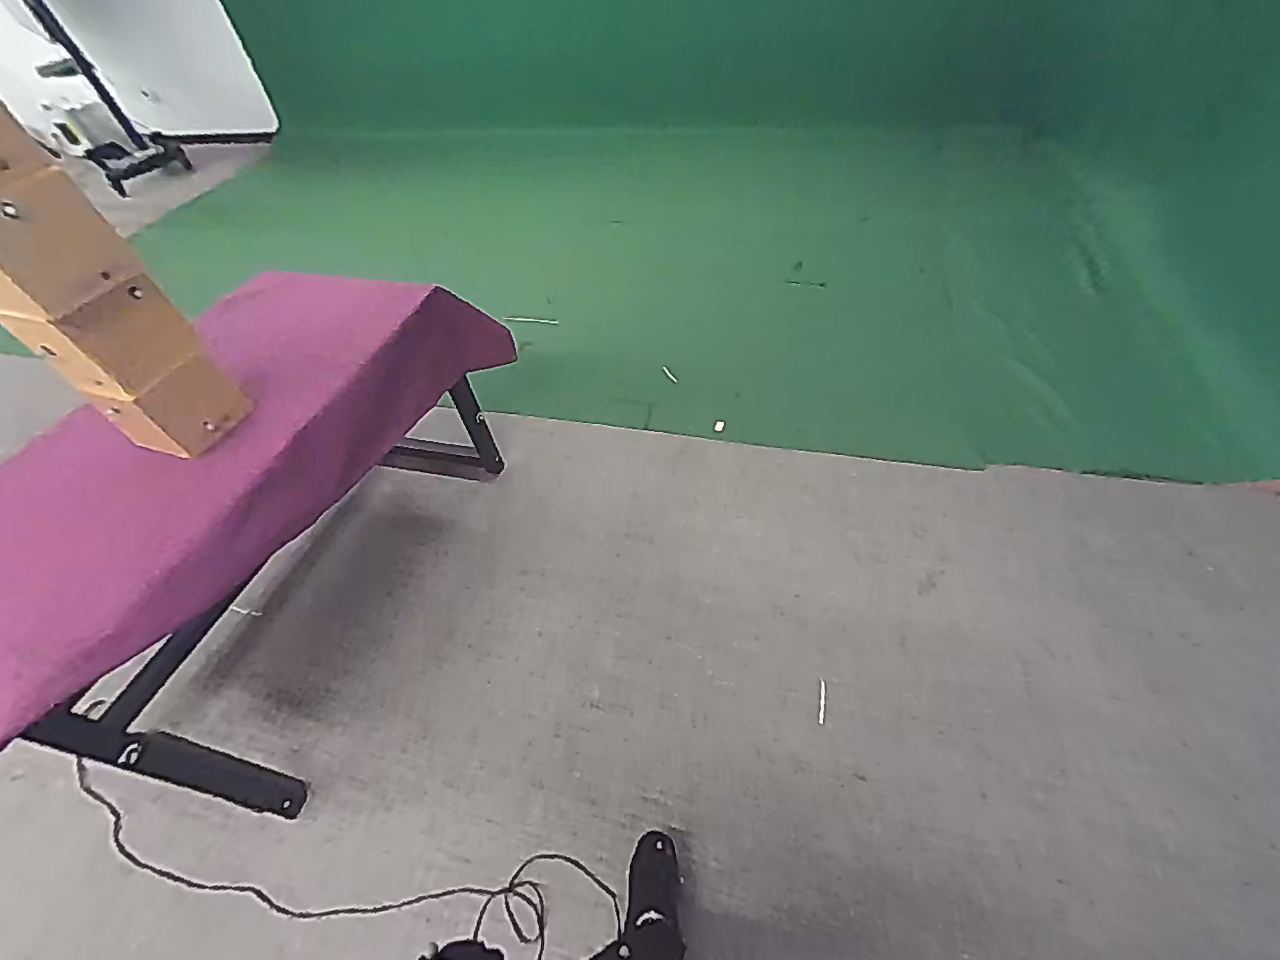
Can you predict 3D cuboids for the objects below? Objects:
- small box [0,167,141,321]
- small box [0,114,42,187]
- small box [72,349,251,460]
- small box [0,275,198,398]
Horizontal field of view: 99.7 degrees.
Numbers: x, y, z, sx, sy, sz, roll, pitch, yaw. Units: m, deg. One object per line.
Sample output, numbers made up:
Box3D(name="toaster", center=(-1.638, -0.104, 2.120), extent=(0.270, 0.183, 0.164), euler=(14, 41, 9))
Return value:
Box3D(name="small box", center=(-0.969, -0.371, 0.852), extent=(0.179, 0.176, 0.168), euler=(13, 53, 19))
Box3D(name="small box", center=(-1.000, -0.477, 0.729), extent=(0.179, 0.176, 0.168), euler=(9, 52, 16))
Box3D(name="small box", center=(-0.959, -0.161, 1.101), extent=(0.179, 0.176, 0.168), euler=(13, 54, 17))
Box3D(name="small box", center=(-0.974, -0.270, 0.983), extent=(0.168, 0.176, 0.179), euler=(11, 53, 16))
